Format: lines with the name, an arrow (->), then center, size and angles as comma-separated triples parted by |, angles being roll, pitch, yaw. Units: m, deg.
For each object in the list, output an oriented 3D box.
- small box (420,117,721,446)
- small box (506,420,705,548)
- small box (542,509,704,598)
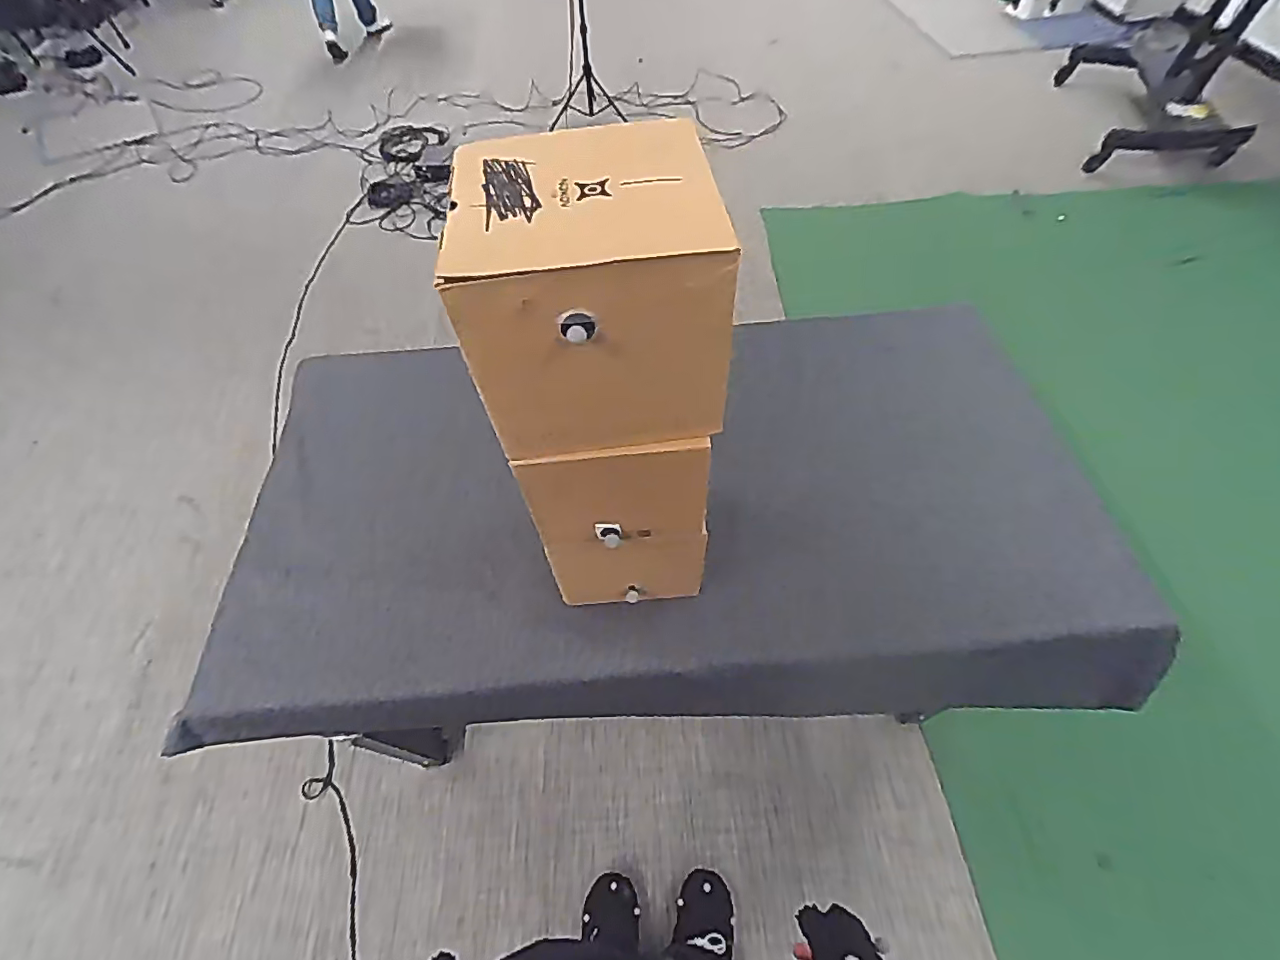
small box -> -0.040, -0.141, 0.413 | 0.179, 0.176, 0.168 | -7, 56, 0
small box -> -0.029, -0.049, 0.549 | 0.168, 0.176, 0.179 | -6, 58, 1
small box -> -0.020, 0.040, 0.685 | 0.179, 0.176, 0.168 | -4, 56, 0
